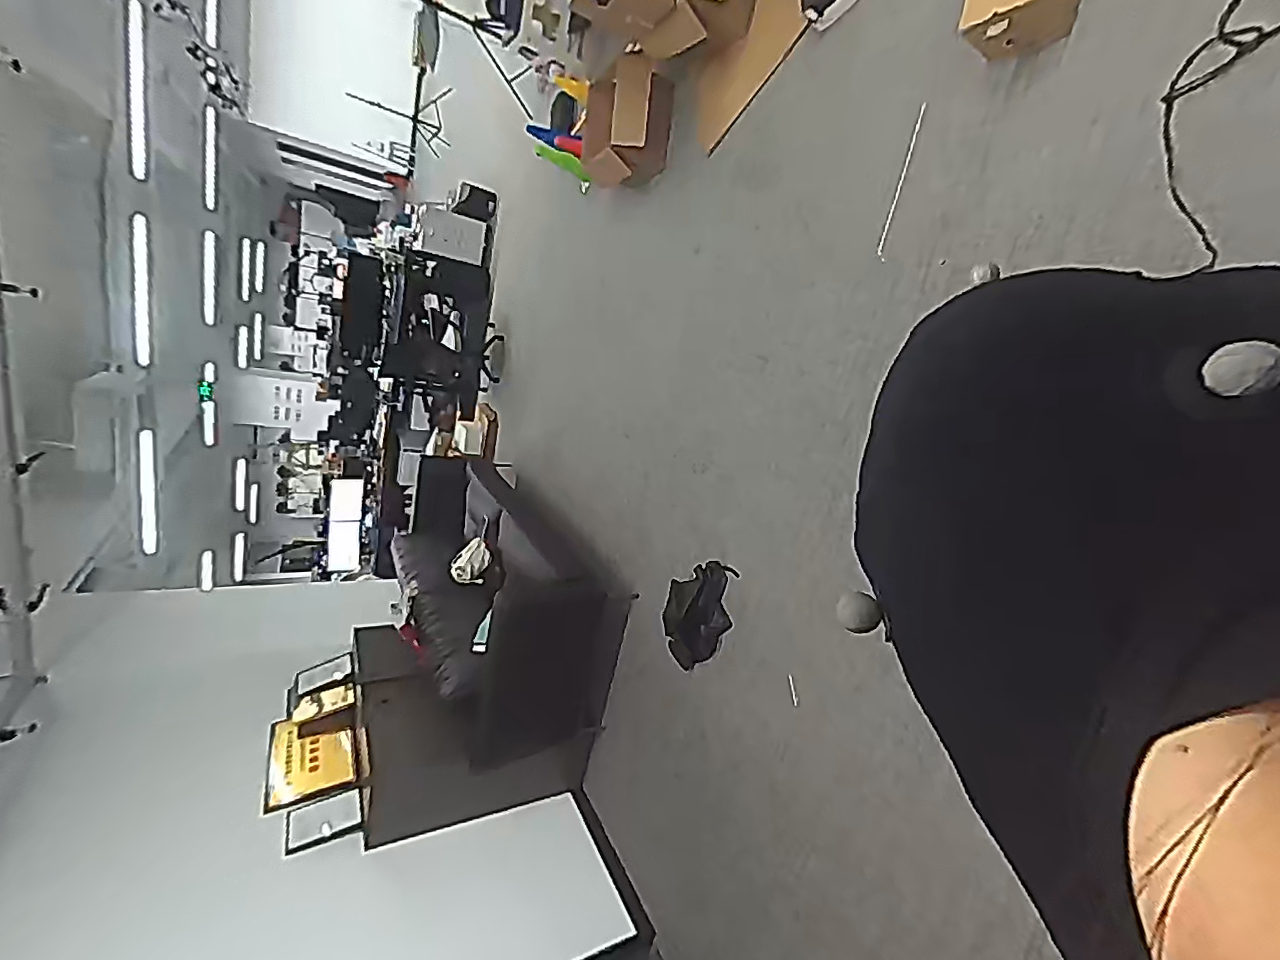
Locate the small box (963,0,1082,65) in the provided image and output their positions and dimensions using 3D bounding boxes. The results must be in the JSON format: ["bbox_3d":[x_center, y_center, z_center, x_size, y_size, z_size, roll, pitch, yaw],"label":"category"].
[{"bbox_3d":[0.879,-1.099,1.225,0.168,0.176,0.179,25,109,55],"label":"small box"}]
